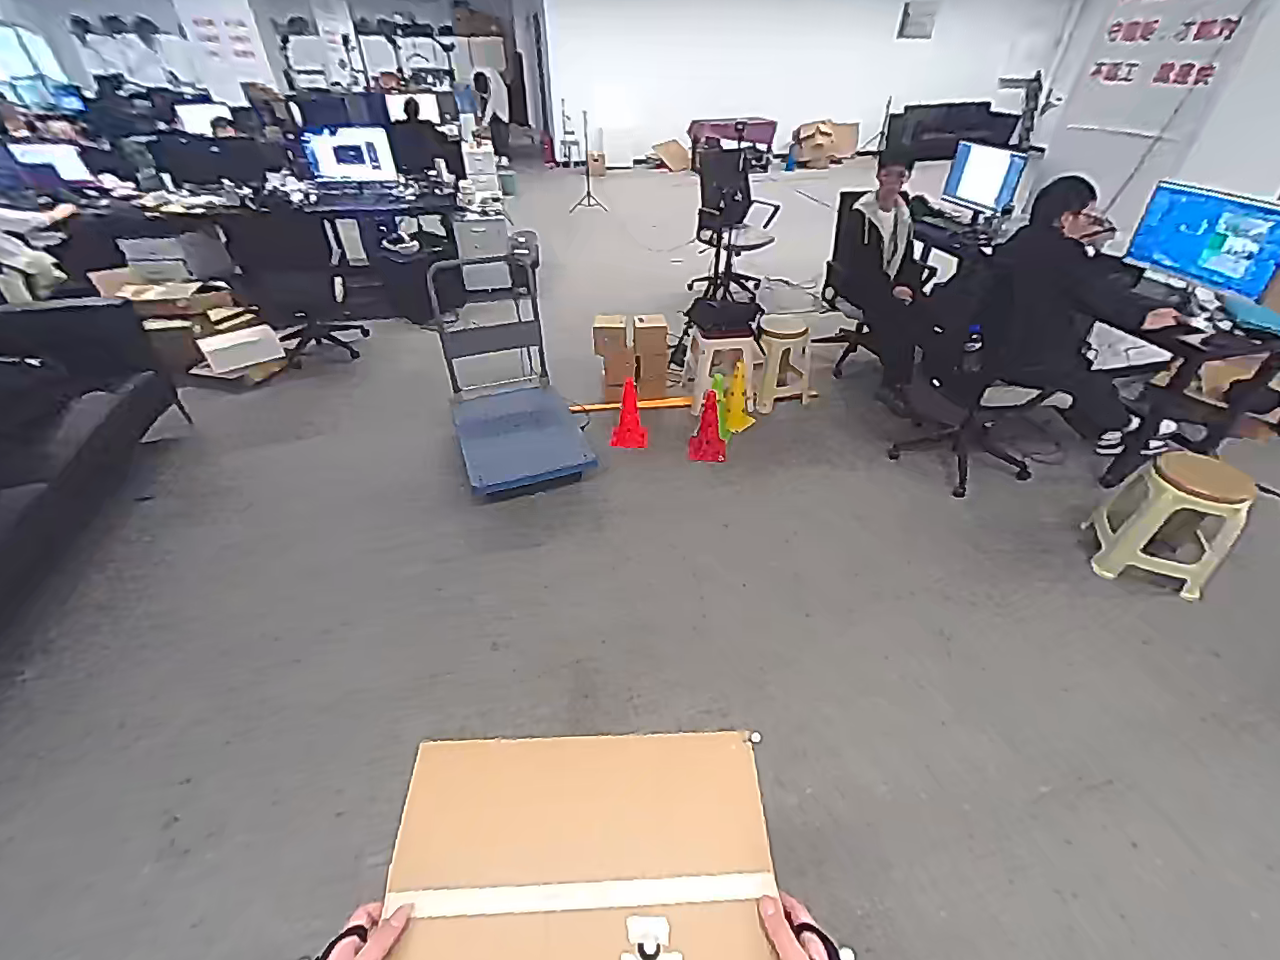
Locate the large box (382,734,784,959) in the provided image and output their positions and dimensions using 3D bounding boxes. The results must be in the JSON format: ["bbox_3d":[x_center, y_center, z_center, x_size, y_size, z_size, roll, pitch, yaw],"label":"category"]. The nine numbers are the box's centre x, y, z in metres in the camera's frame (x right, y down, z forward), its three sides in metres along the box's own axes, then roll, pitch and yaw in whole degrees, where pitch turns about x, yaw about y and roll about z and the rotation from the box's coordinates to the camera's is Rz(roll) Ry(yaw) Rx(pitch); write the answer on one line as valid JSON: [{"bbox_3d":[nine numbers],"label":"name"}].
[{"bbox_3d":[-0.063,0.541,0.674,0.408,0.320,0.320,-1,47,-3],"label":"large box"}]
